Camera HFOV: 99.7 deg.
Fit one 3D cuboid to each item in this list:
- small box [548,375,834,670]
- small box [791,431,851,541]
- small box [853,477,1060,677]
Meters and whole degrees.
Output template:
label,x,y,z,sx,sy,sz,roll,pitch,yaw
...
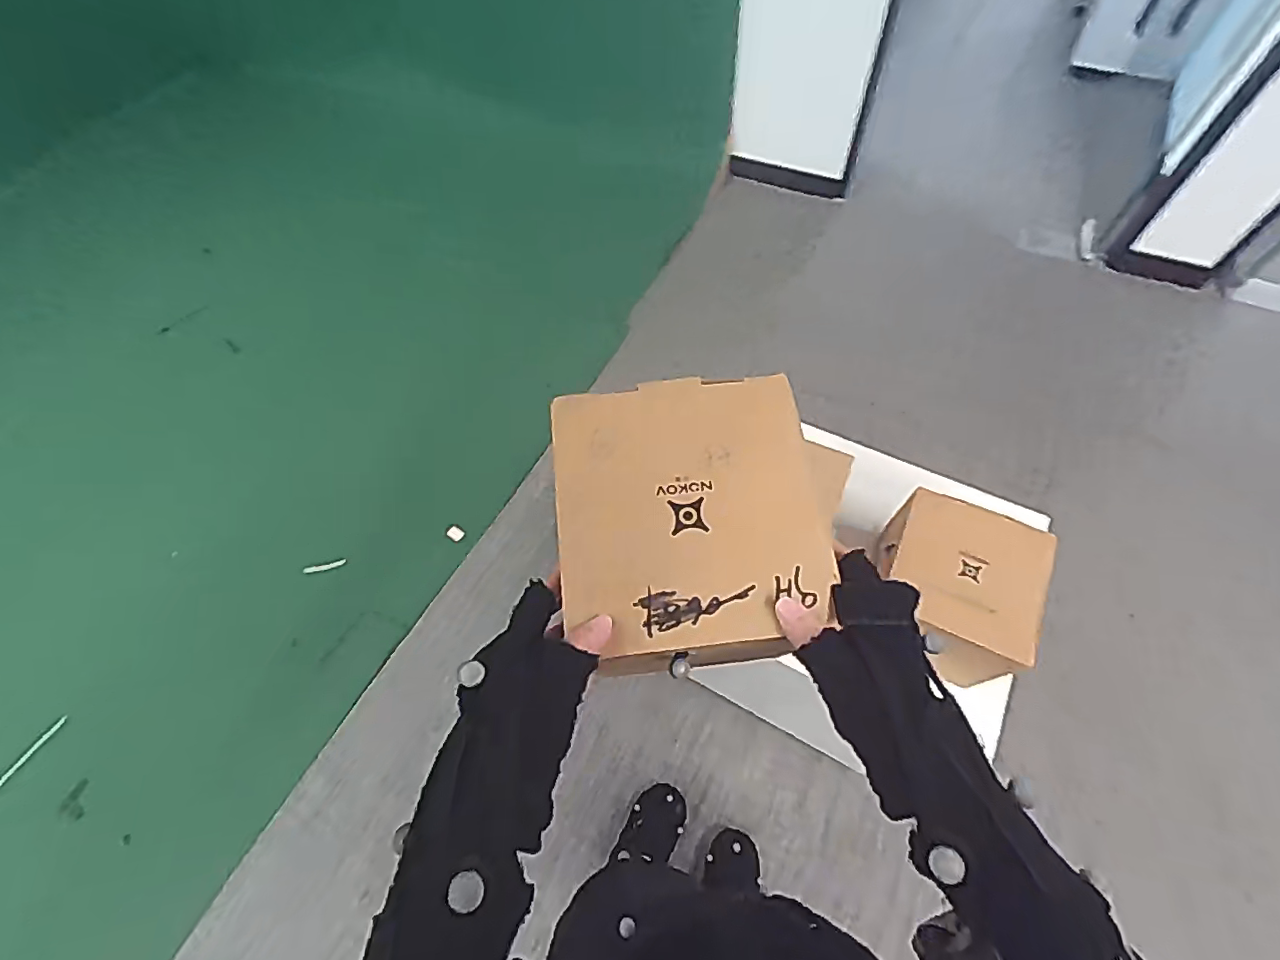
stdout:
label,x,y,z,sx,sy,sz,roll,pitch,yaw
small box,0.025,0.044,0.419,0.168,0.176,0.179,-7,68,-1
small box,0.180,0.041,0.784,0.168,0.176,0.179,22,65,15
small box,0.395,0.131,0.701,0.168,0.176,0.179,22,67,17
